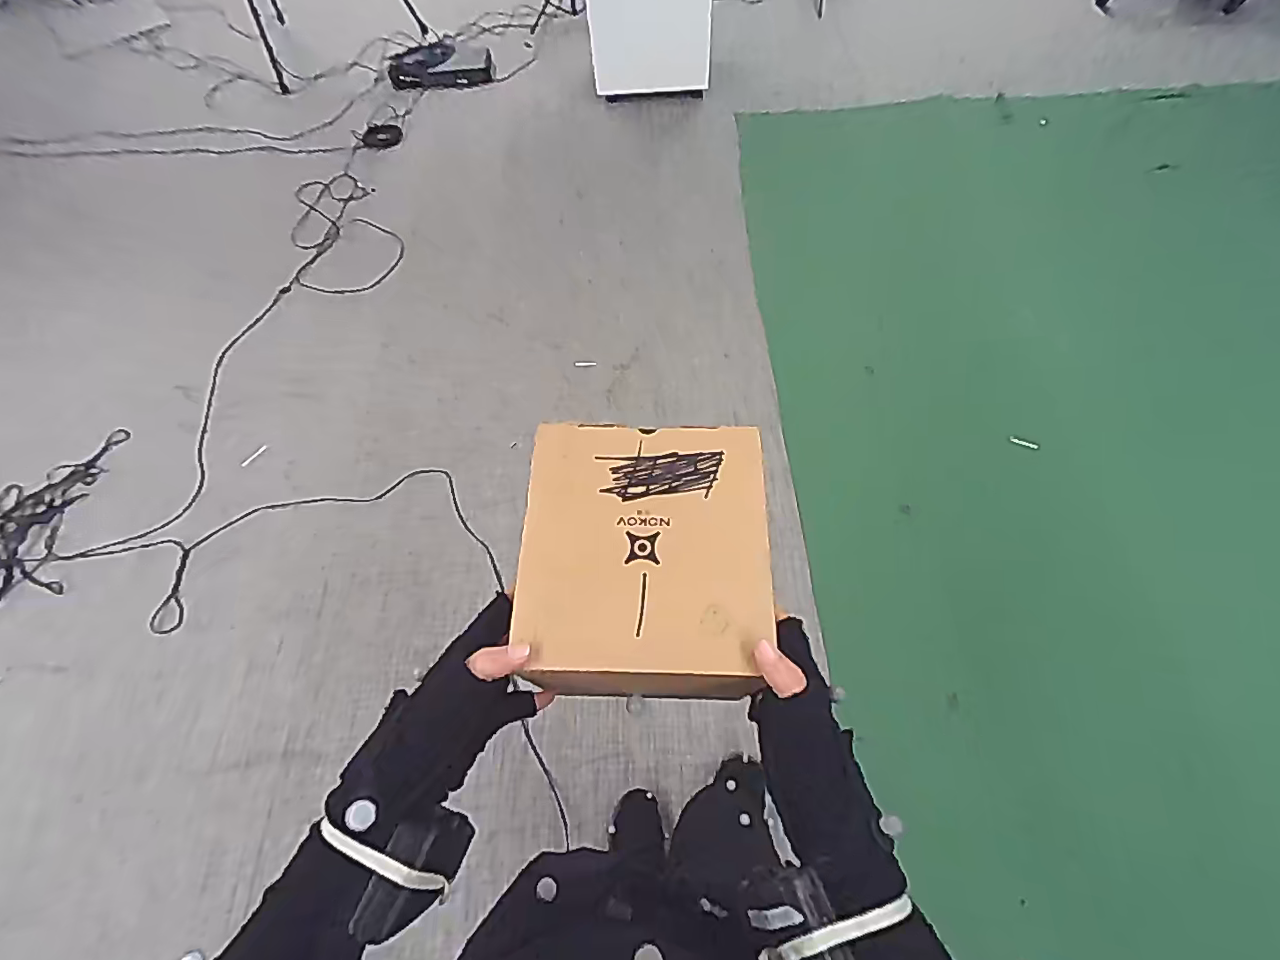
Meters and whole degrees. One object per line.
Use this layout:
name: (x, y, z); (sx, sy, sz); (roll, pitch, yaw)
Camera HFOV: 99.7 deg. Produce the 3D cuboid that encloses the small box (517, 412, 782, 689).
small box: (0.010, 0.064, 0.437); (0.168, 0.176, 0.179); (0, 63, 3)
